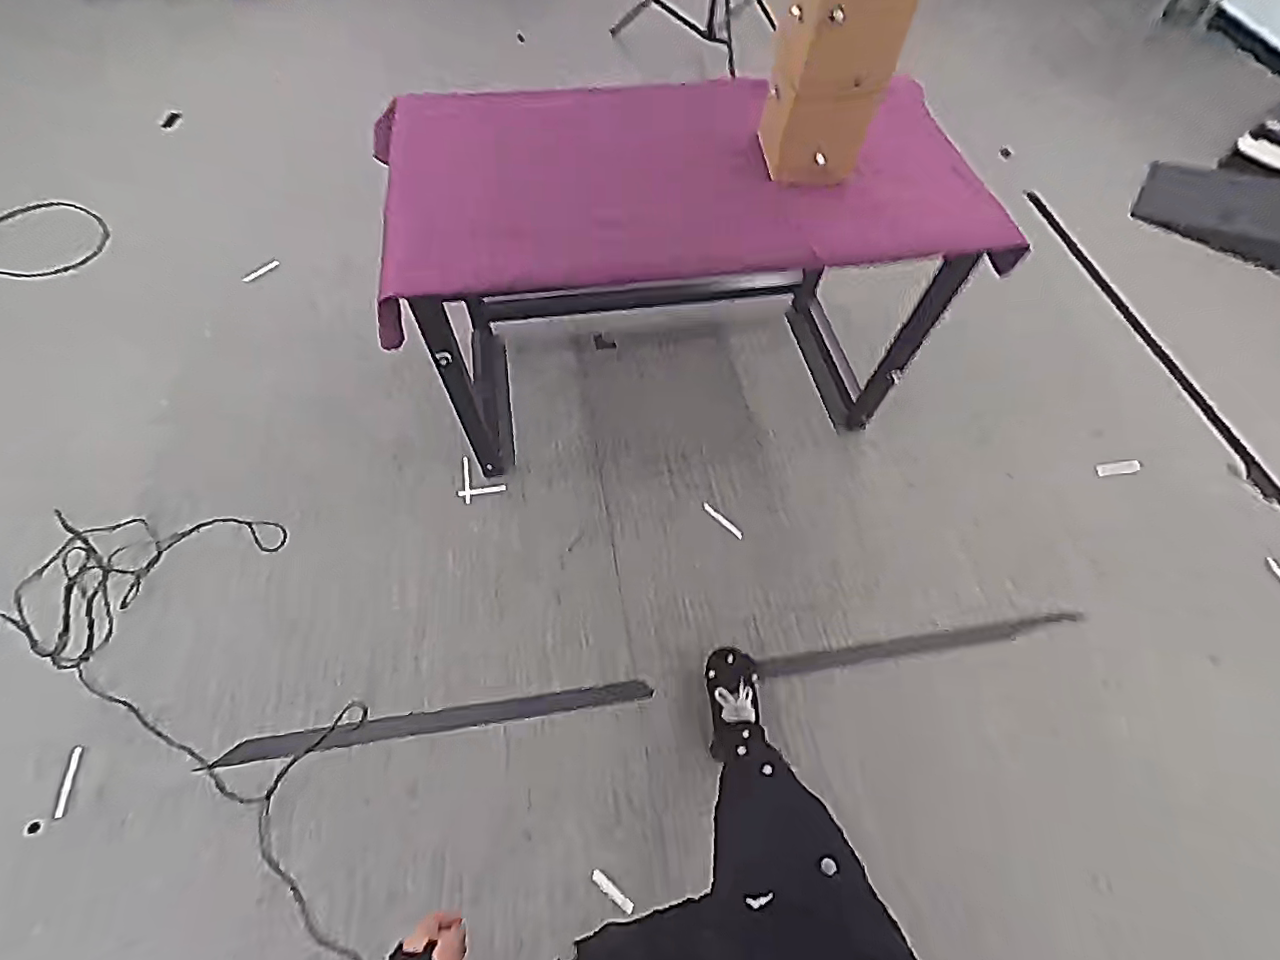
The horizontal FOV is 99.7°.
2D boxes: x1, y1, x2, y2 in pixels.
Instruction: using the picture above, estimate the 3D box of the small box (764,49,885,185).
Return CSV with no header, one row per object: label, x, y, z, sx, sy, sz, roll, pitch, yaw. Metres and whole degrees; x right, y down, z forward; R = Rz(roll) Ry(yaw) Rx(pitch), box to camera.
small box,0.355,-0.724,1.083,0.168,0.176,0.179,-3,62,-3
